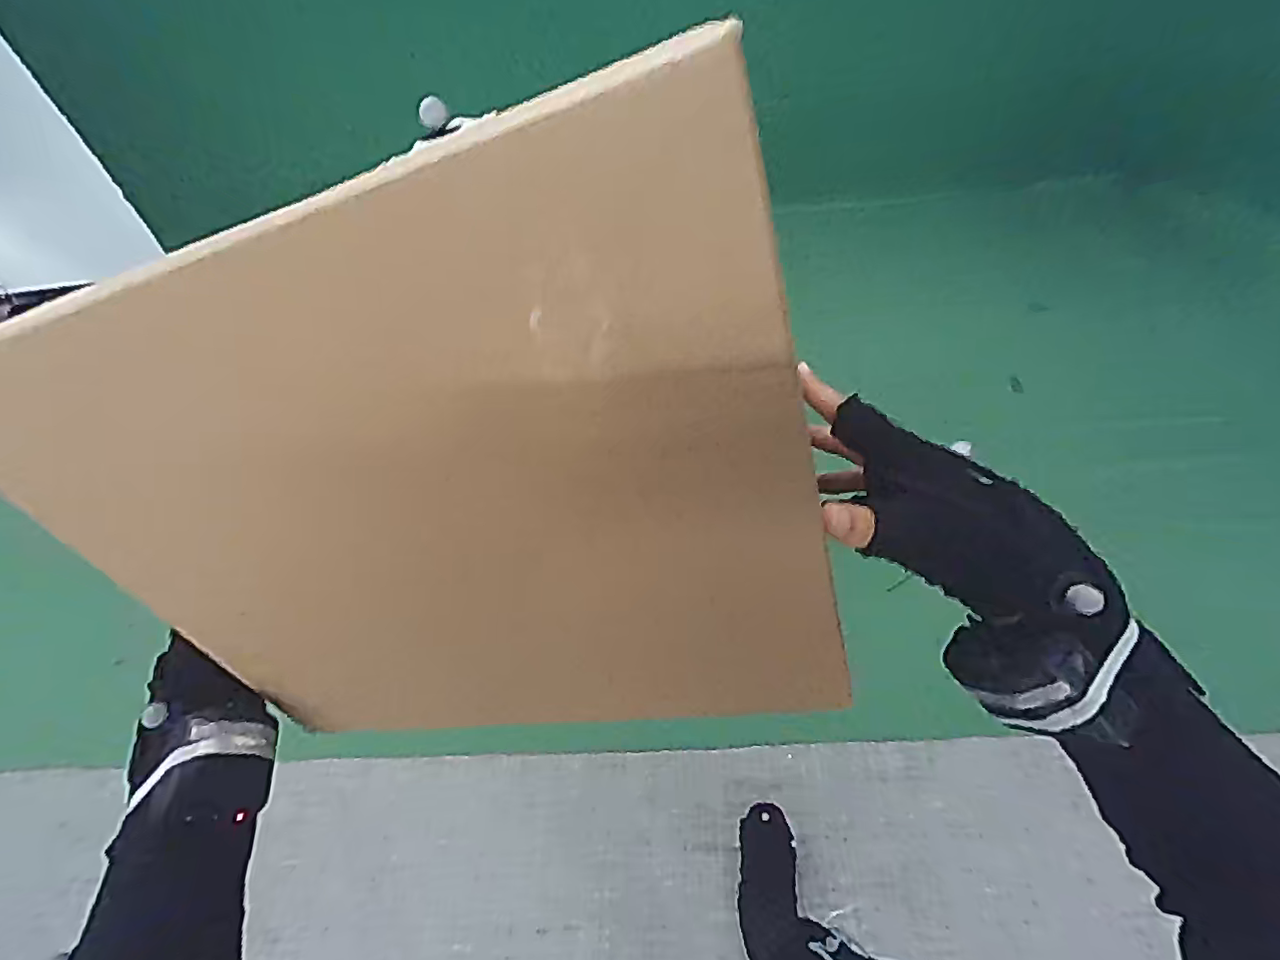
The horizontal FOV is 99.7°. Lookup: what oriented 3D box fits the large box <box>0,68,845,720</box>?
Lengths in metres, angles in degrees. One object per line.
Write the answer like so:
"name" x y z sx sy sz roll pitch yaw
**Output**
"large box" -0.090 -0.049 0.409 0.408 0.320 0.320 -10 36 16
